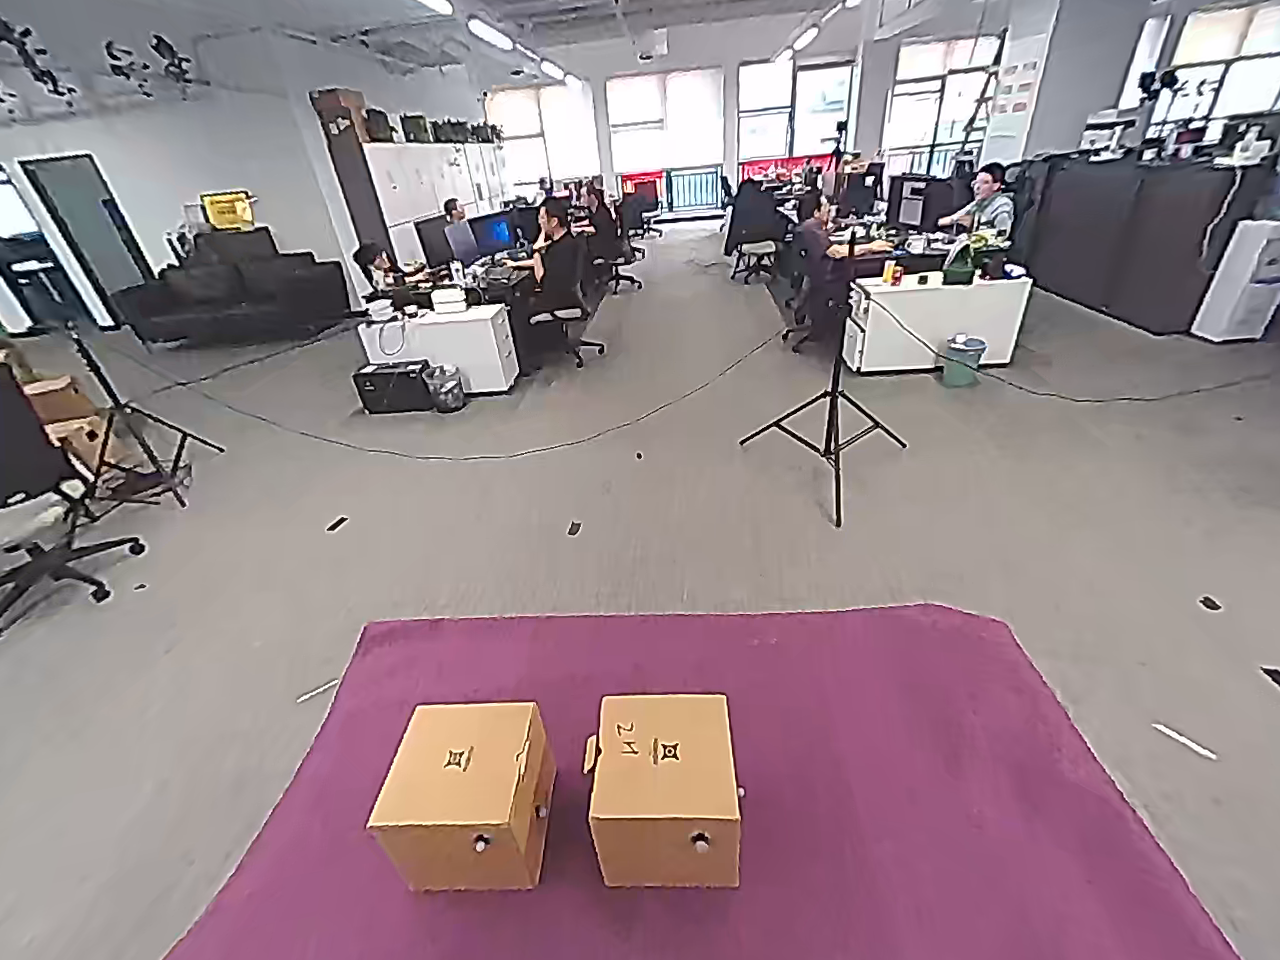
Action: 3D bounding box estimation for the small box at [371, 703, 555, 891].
[{"bbox_3d":[-0.225,0.432,0.741,0.179,0.176,0.168,-3,31,3],"label":"small box"}]
